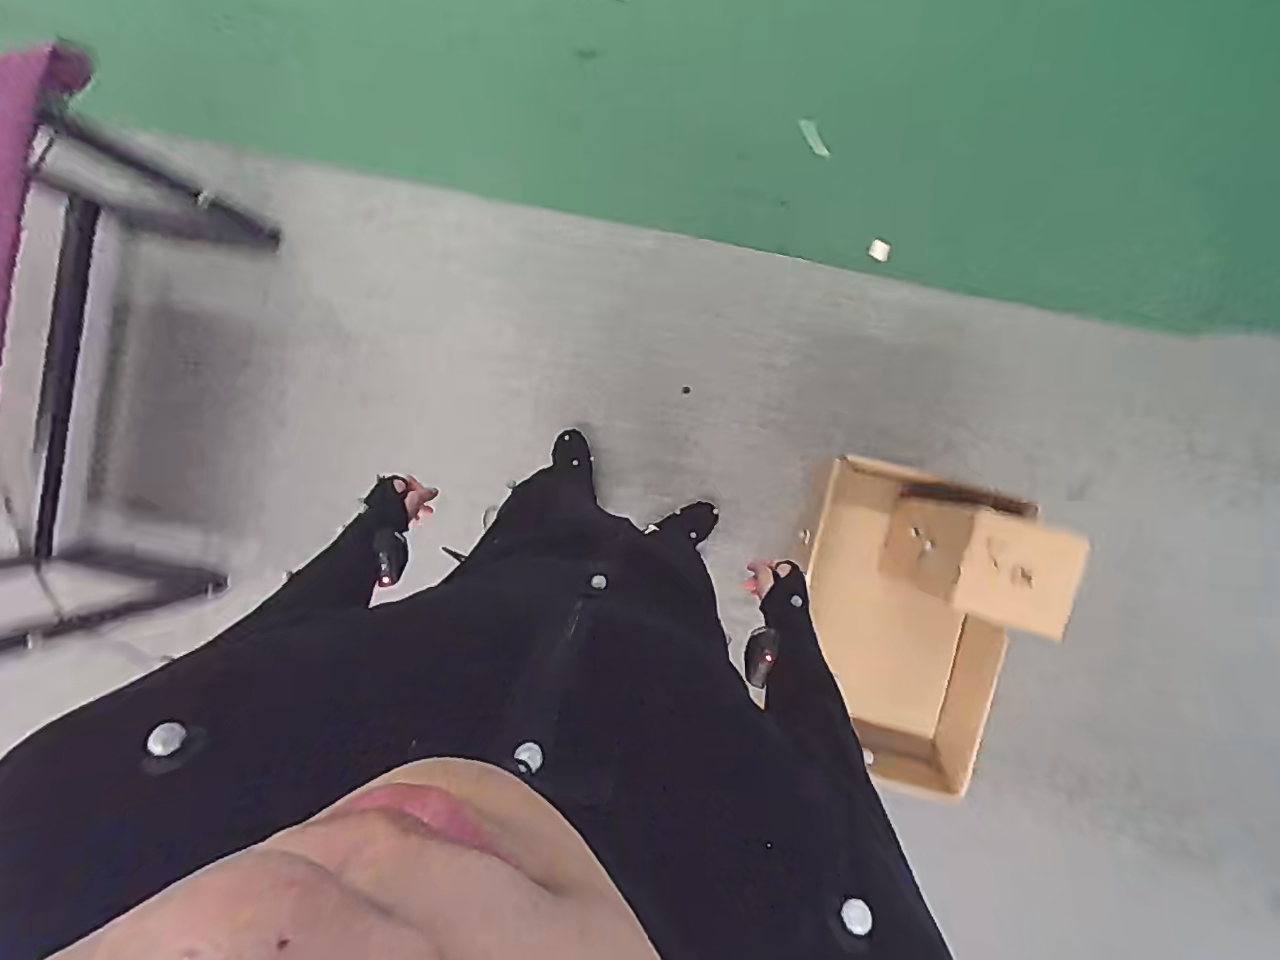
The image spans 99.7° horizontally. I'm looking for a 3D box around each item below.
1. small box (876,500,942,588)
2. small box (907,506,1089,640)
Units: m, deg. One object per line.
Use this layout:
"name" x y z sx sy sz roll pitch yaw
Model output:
"small box" 0.612 0.142 1.094 0.179 0.176 0.168 16 93 3
"small box" 0.601 0.148 0.930 0.179 0.176 0.168 18 92 4
